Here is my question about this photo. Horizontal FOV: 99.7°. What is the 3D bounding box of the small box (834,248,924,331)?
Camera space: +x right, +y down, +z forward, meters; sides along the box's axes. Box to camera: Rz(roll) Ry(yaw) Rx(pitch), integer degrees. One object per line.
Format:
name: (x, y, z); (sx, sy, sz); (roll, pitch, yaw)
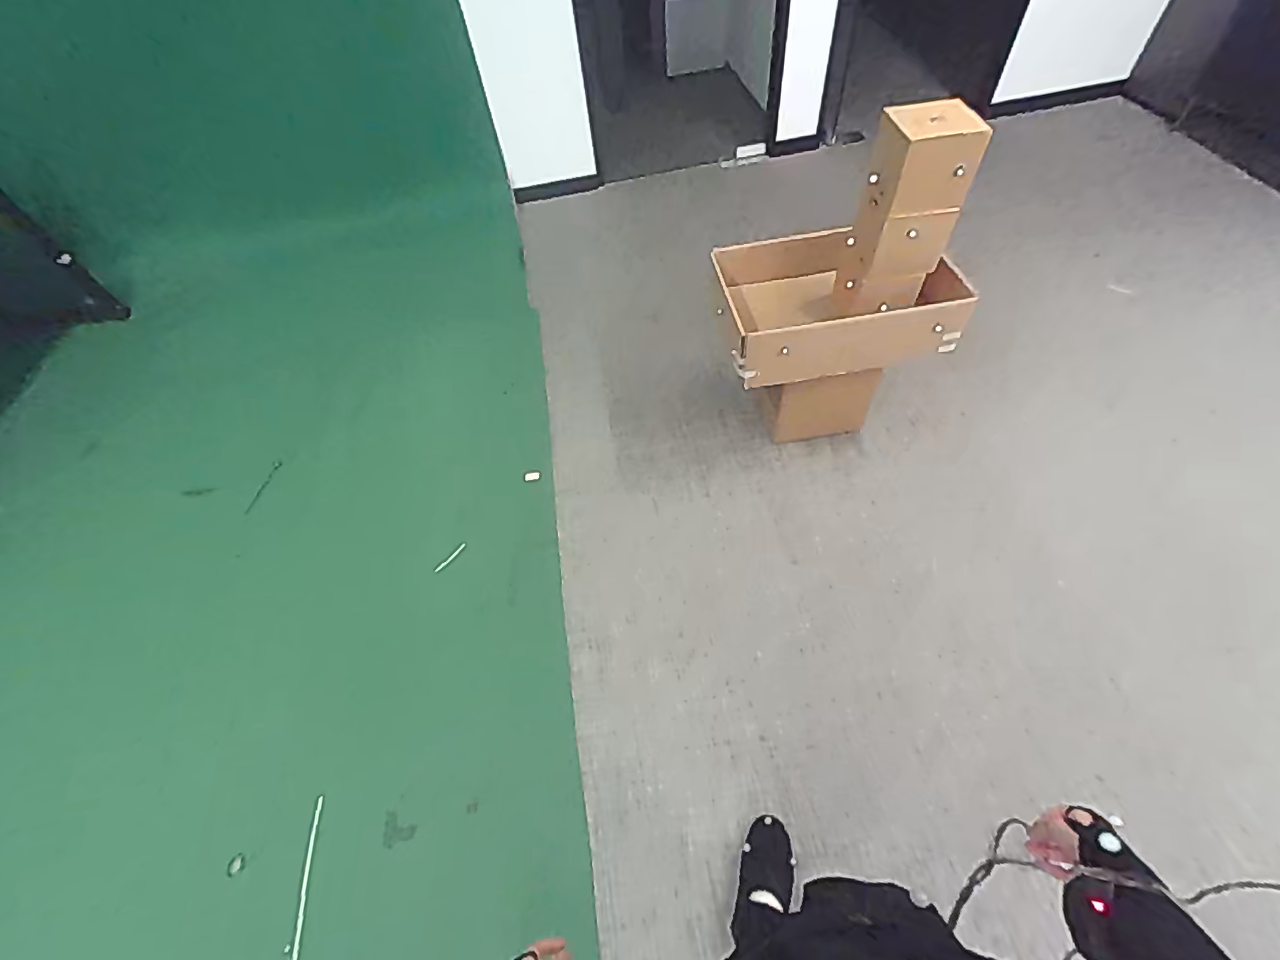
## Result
small box: (0.657, -0.531, 1.506); (0.168, 0.176, 0.179); (-6, 54, 2)

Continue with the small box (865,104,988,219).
small box: (0.647, -0.729, 1.245); (0.179, 0.176, 0.168); (-7, 54, 1)

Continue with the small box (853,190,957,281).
small box: (0.657, -0.626, 1.372); (0.179, 0.176, 0.168); (-7, 54, 1)
